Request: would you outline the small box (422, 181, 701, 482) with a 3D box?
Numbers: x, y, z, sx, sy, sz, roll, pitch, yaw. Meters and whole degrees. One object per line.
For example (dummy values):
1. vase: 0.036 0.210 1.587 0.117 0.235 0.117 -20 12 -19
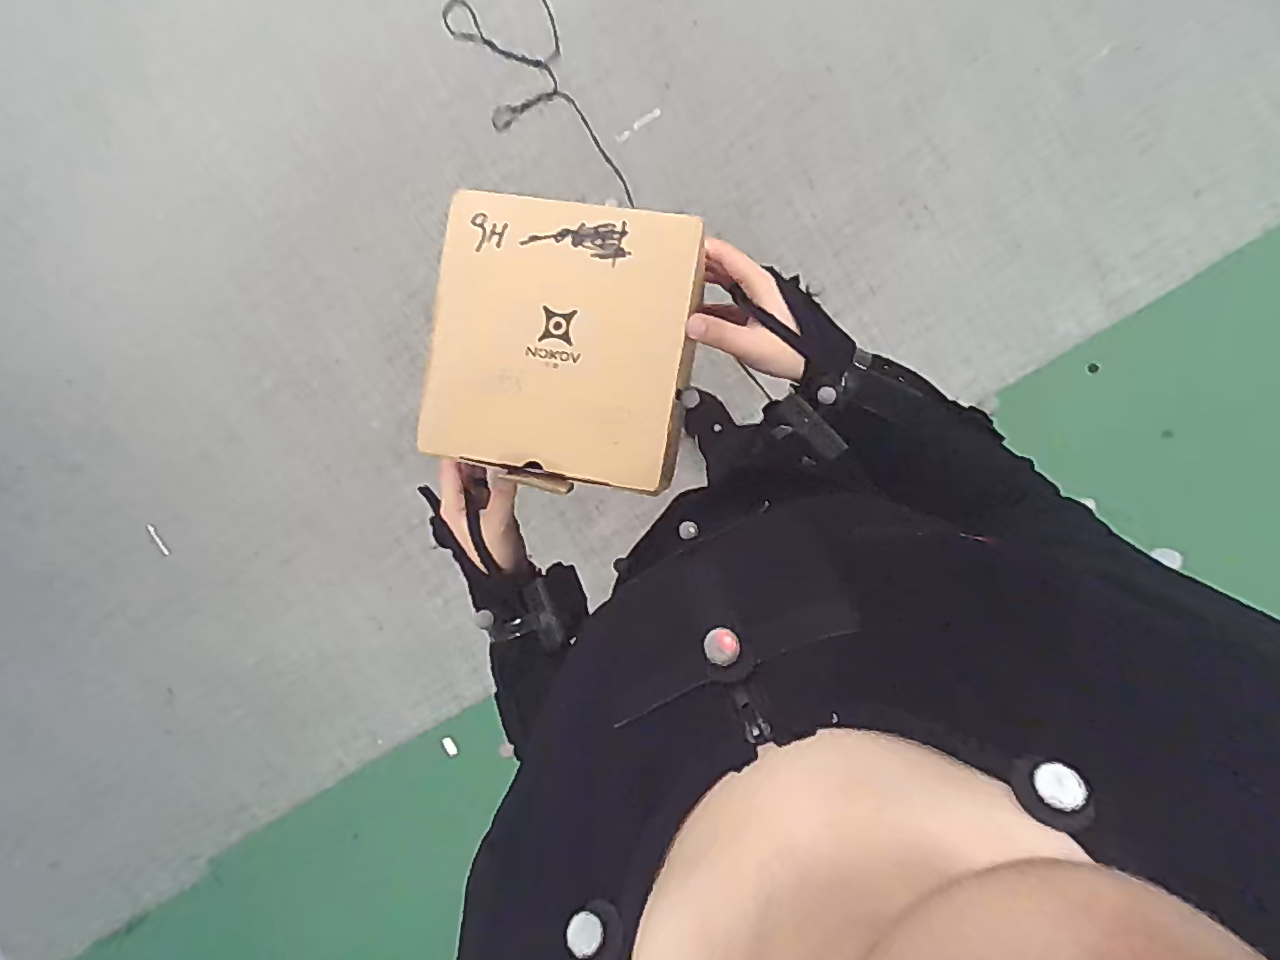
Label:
1. small box: -0.045 -0.102 0.430 0.168 0.176 0.179 10 94 6
